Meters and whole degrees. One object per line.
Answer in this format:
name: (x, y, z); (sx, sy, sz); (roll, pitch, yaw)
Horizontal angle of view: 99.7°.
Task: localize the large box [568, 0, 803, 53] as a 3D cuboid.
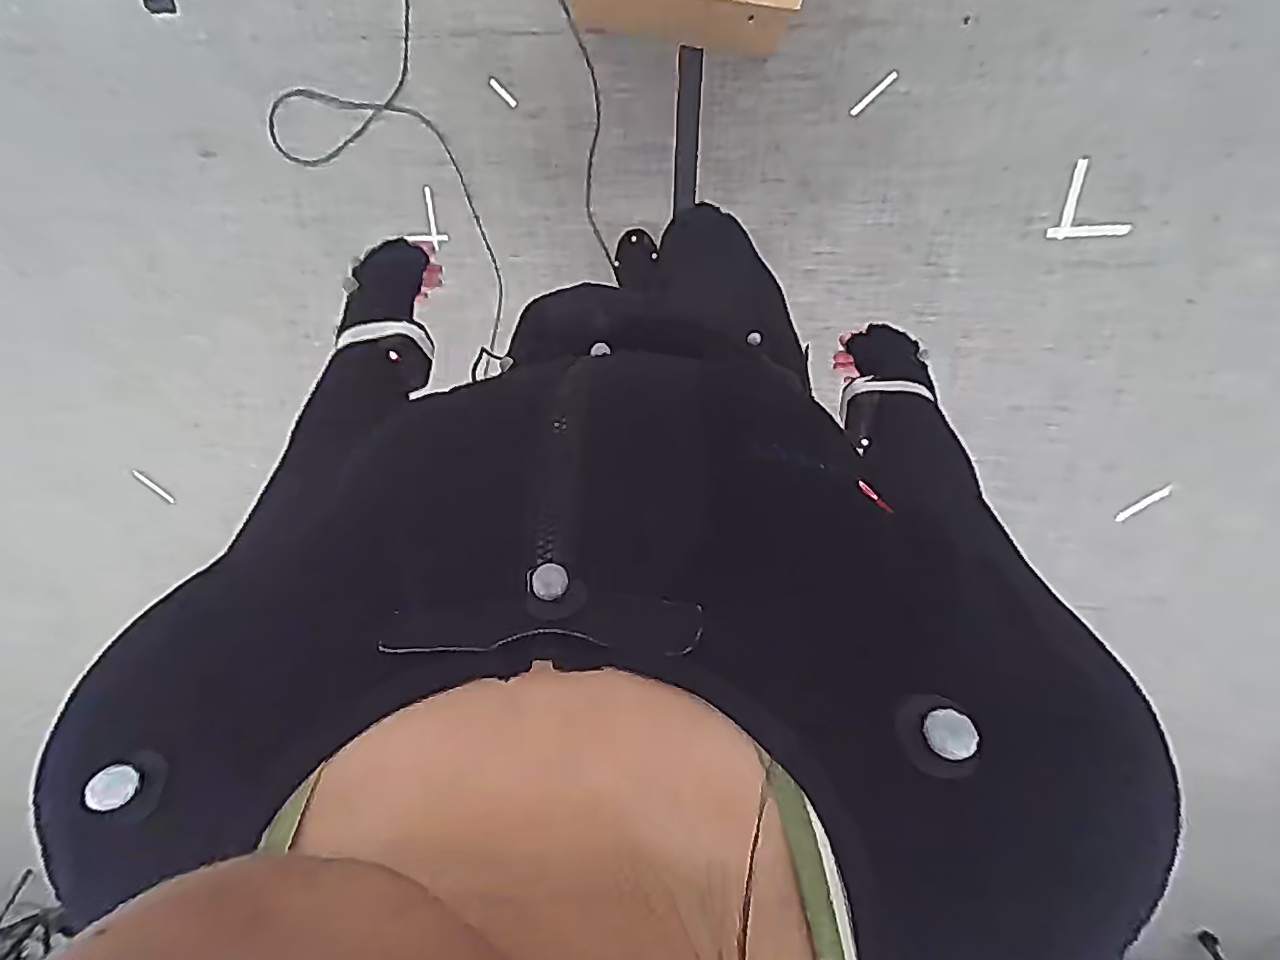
large box: (0.088, -0.977, 0.927); (0.408, 0.320, 0.320); (8, 116, -1)
